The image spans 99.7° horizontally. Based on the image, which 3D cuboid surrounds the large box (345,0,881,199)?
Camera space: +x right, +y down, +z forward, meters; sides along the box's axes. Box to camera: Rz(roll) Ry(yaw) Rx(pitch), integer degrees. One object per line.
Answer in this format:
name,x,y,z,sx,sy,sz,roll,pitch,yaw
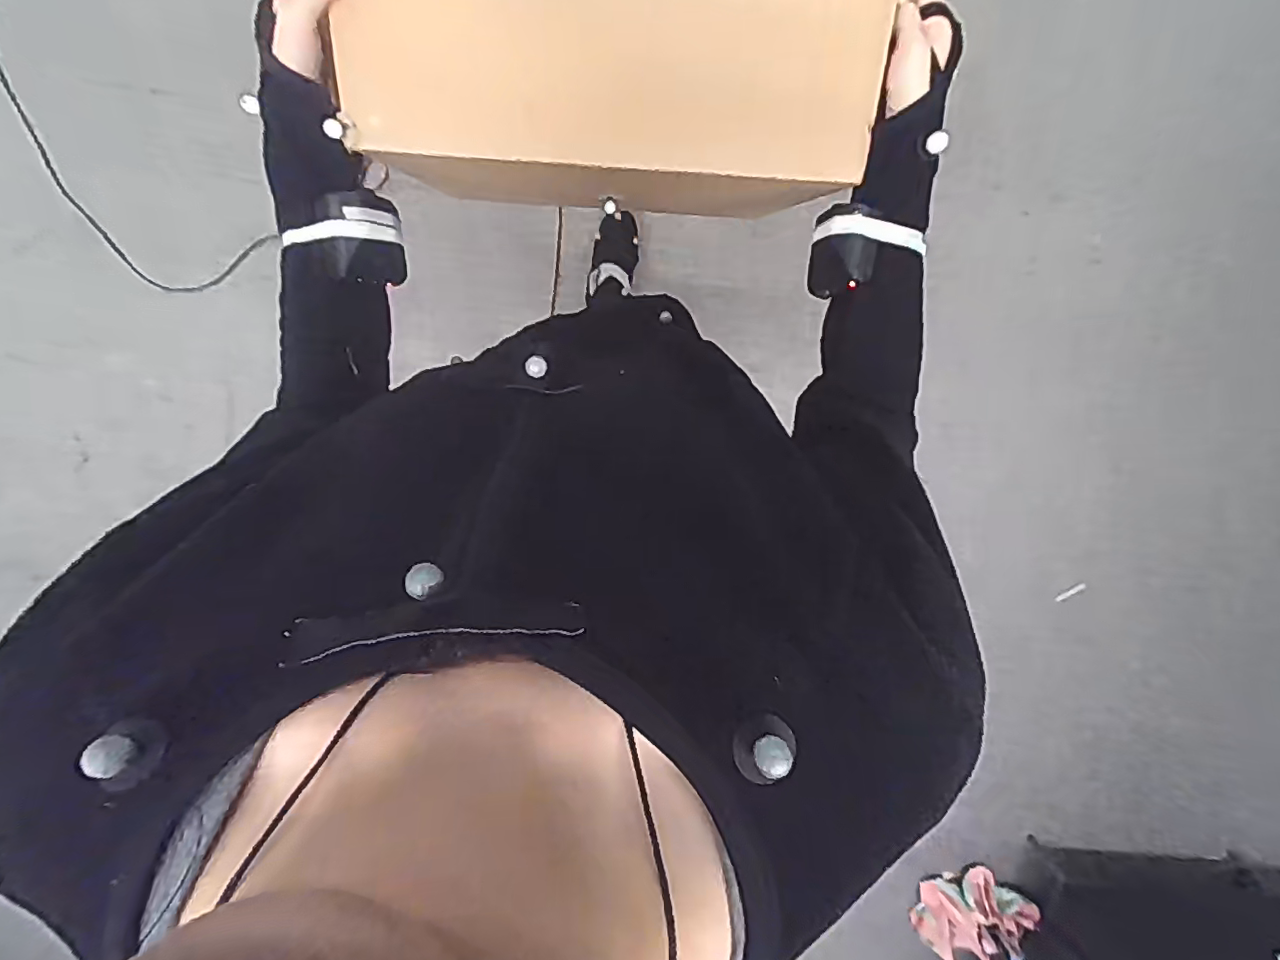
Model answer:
large box,-0.021,-0.459,0.516,0.408,0.320,0.320,1,111,-5
